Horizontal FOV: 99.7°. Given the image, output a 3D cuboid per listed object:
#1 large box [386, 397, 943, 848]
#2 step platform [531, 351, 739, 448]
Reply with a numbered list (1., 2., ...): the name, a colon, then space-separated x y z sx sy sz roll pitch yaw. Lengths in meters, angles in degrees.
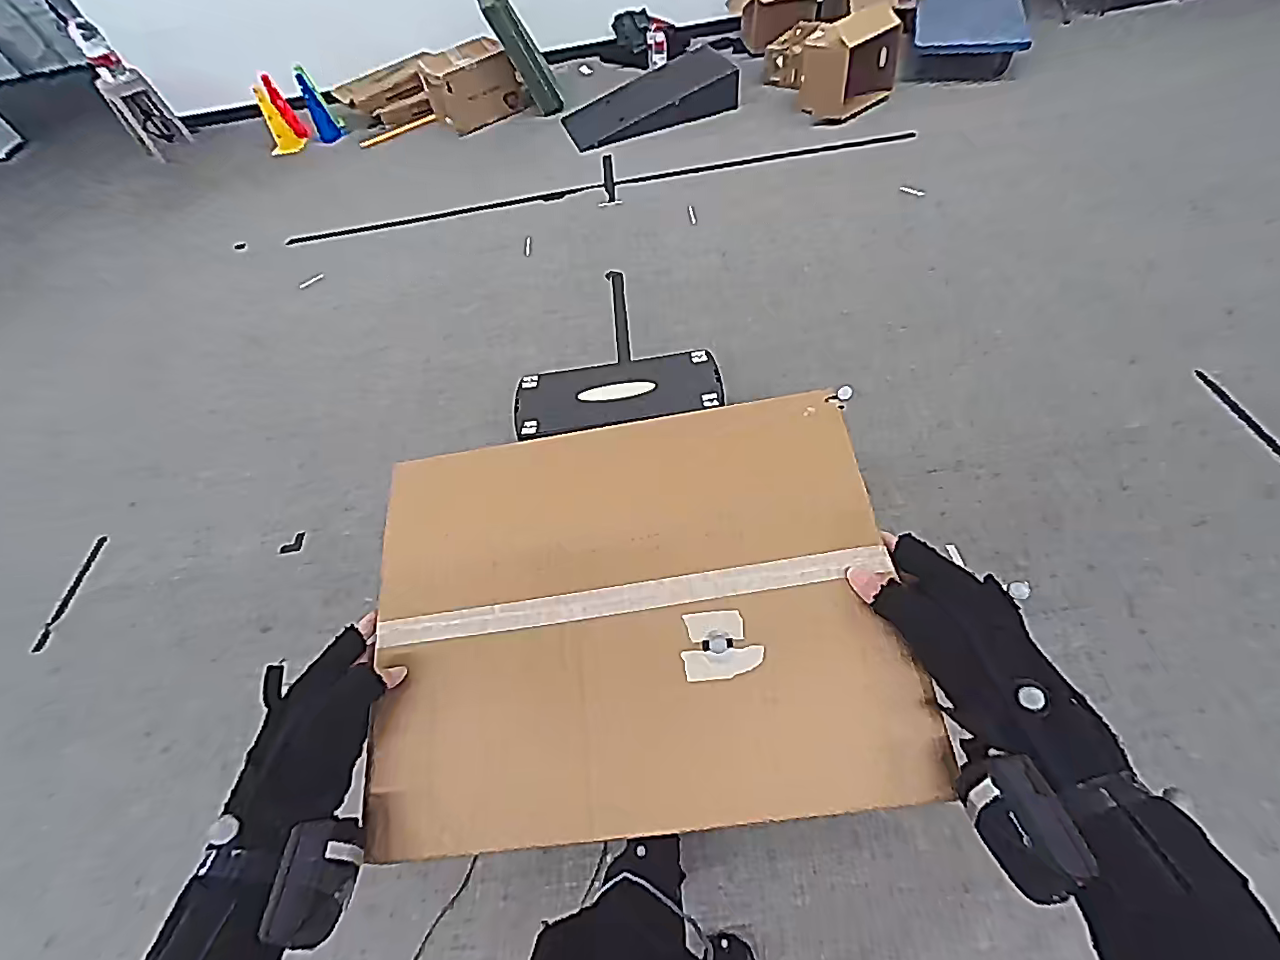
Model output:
1. large box: 0.012 0.156 0.572 0.408 0.320 0.320 -9 65 4
2. step platform: -0.017 -0.227 1.798 0.684 0.204 0.286 -8 55 2
